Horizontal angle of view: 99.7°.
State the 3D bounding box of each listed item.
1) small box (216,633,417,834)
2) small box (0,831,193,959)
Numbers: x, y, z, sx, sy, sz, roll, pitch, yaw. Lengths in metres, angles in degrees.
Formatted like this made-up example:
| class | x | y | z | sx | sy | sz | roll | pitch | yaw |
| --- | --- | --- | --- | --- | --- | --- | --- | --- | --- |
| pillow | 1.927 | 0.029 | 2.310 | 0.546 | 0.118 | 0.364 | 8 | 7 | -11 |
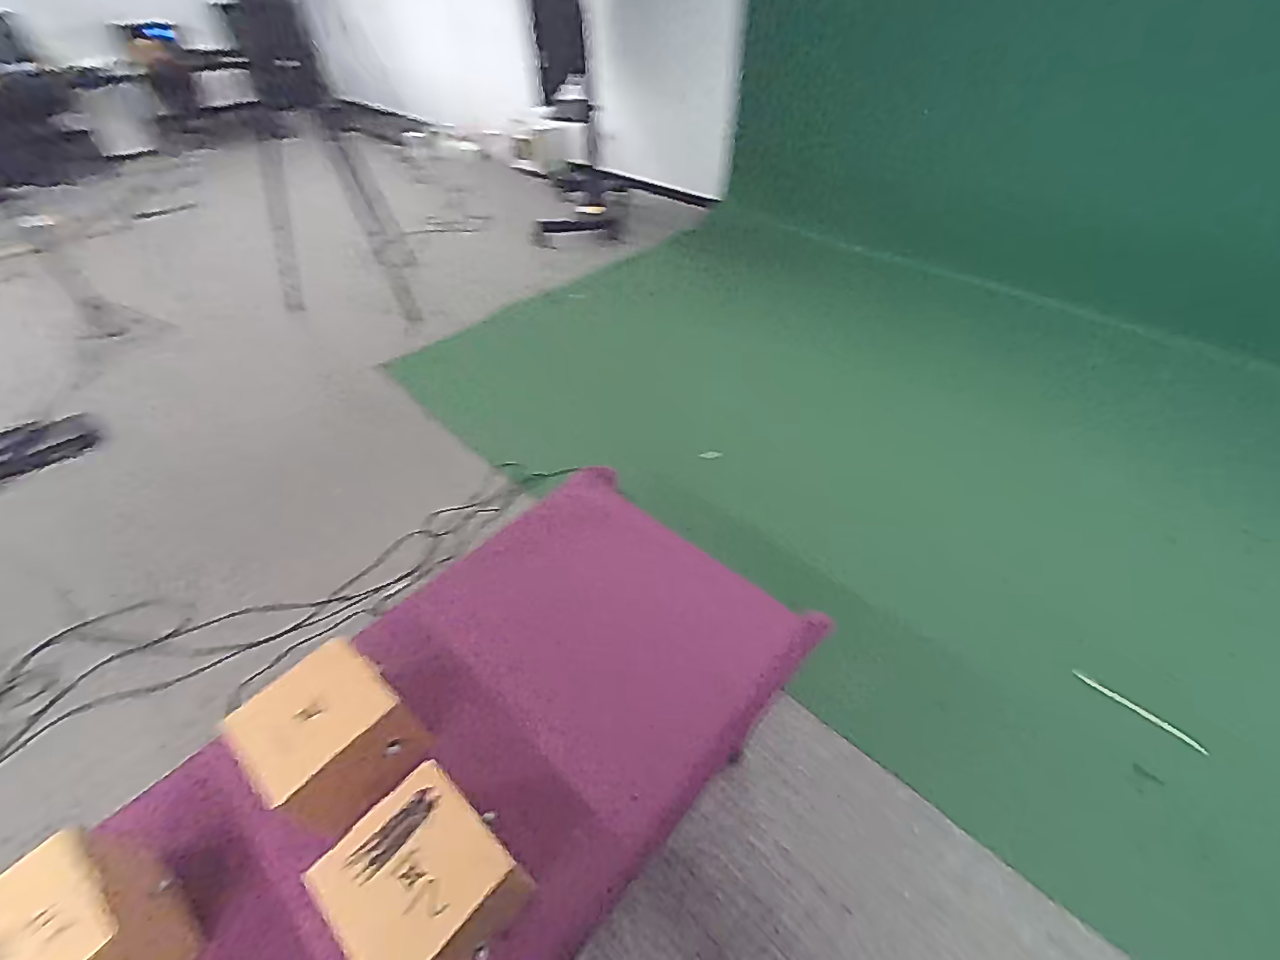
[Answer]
| class | x | y | z | sx | sy | sz | roll | pitch | yaw |
| --- | --- | --- | --- | --- | --- | --- | --- | --- | --- |
| small box | -0.453 | 0.369 | 0.790 | 0.168 | 0.176 | 0.179 | 30 | 54 | 28 |
| small box | -0.675 | 0.553 | 0.614 | 0.168 | 0.176 | 0.179 | 29 | 53 | 26 |
